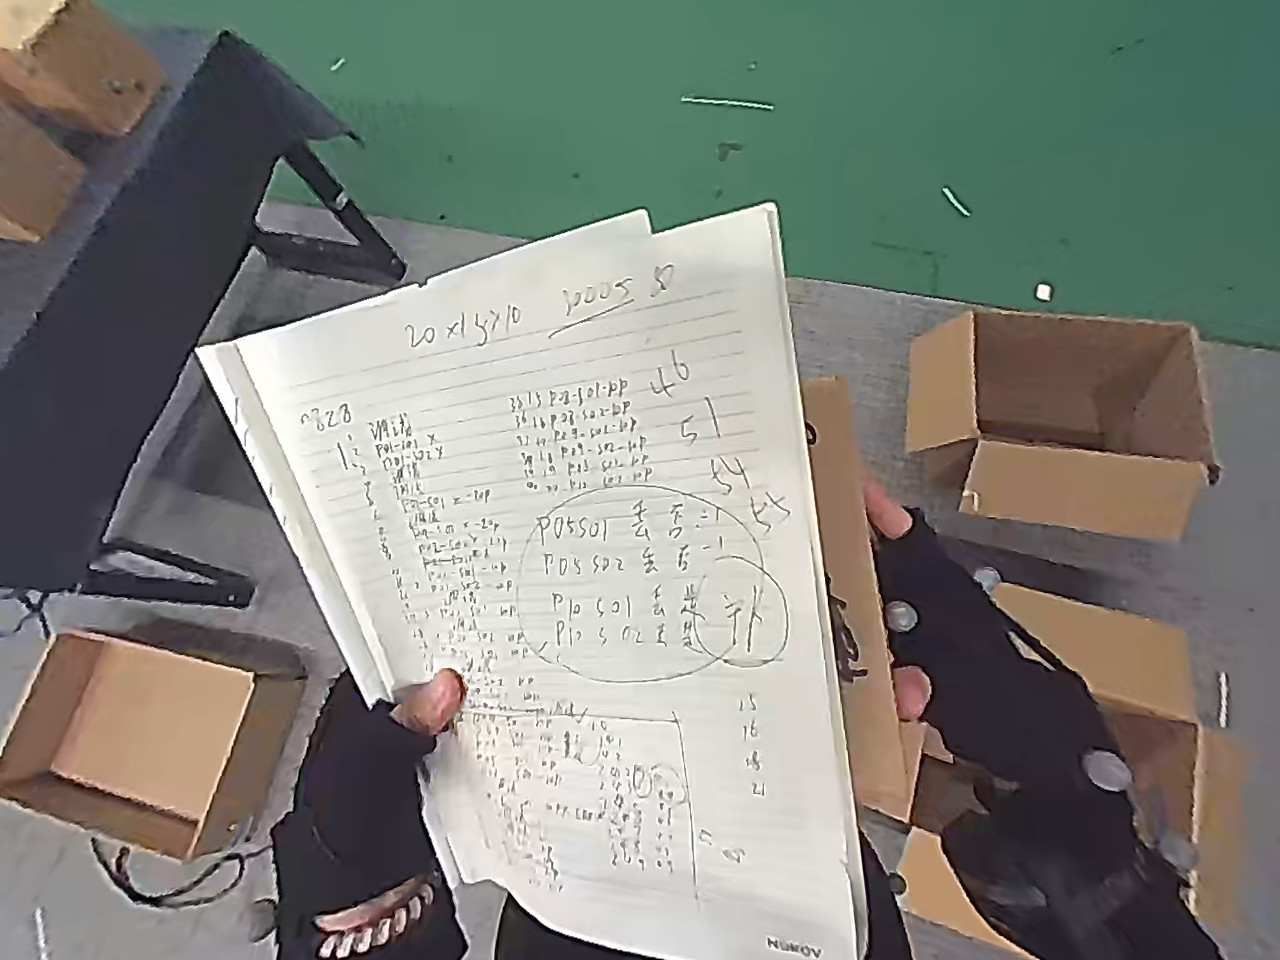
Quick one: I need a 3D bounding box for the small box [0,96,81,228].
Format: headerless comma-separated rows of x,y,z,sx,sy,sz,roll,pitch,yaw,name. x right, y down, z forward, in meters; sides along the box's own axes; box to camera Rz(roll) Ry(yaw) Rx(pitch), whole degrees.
-1.170,-0.577,0.957,0.168,0.176,0.179,11,73,11,small box

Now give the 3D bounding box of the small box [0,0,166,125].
-1.076,-0.812,1.024,0.179,0.176,0.168,17,75,13,small box
